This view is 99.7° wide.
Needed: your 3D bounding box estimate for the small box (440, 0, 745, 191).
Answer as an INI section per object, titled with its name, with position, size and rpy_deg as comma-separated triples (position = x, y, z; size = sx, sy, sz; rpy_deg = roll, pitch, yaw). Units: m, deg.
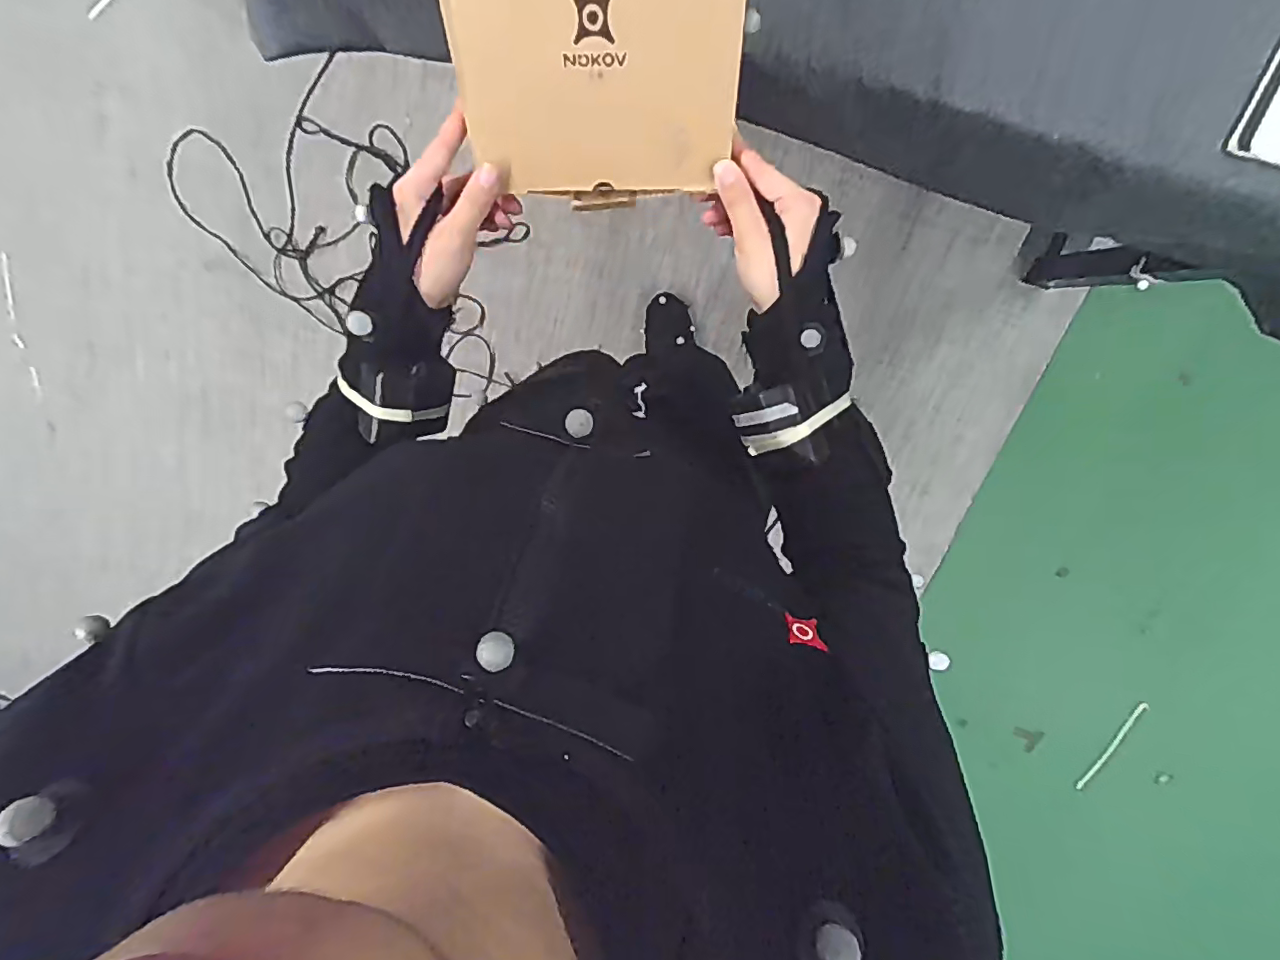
[small box]
position = -0.023, -0.309, 0.346
size = 0.168, 0.176, 0.179
rpy_deg = -1, 137, 1
